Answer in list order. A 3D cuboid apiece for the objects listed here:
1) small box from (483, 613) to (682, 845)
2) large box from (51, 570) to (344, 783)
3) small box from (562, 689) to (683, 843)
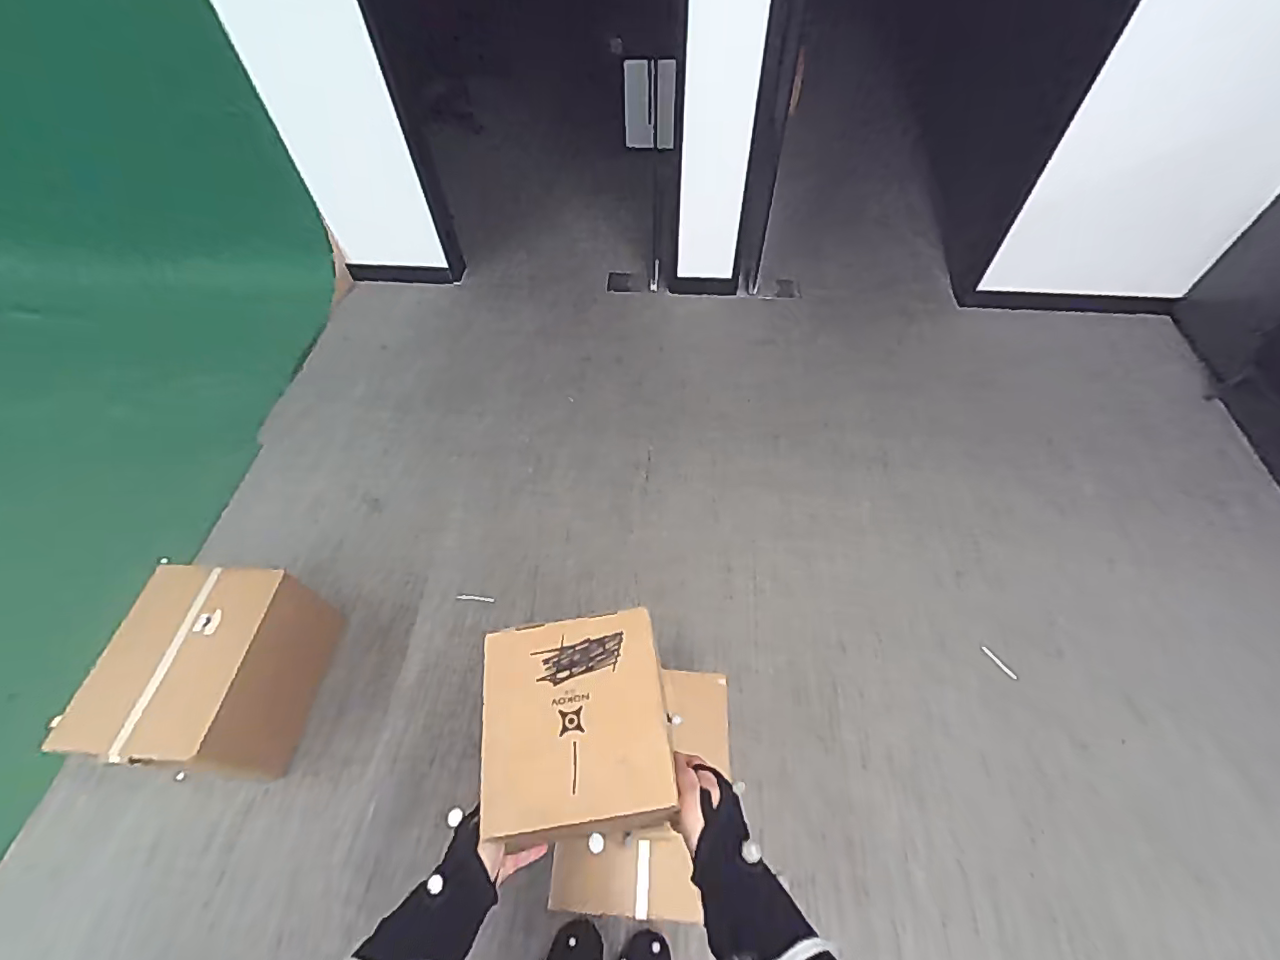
[{"bbox_3d":[-0.051,0.260,0.558,0.168,0.176,0.179,-10,55,1],"label":"small box"},{"bbox_3d":[-0.985,0.466,1.277,0.320,0.320,0.408,3,54,4],"label":"large box"},{"bbox_3d":[-0.026,0.419,0.790,0.168,0.176,0.179,-5,56,0],"label":"small box"}]
